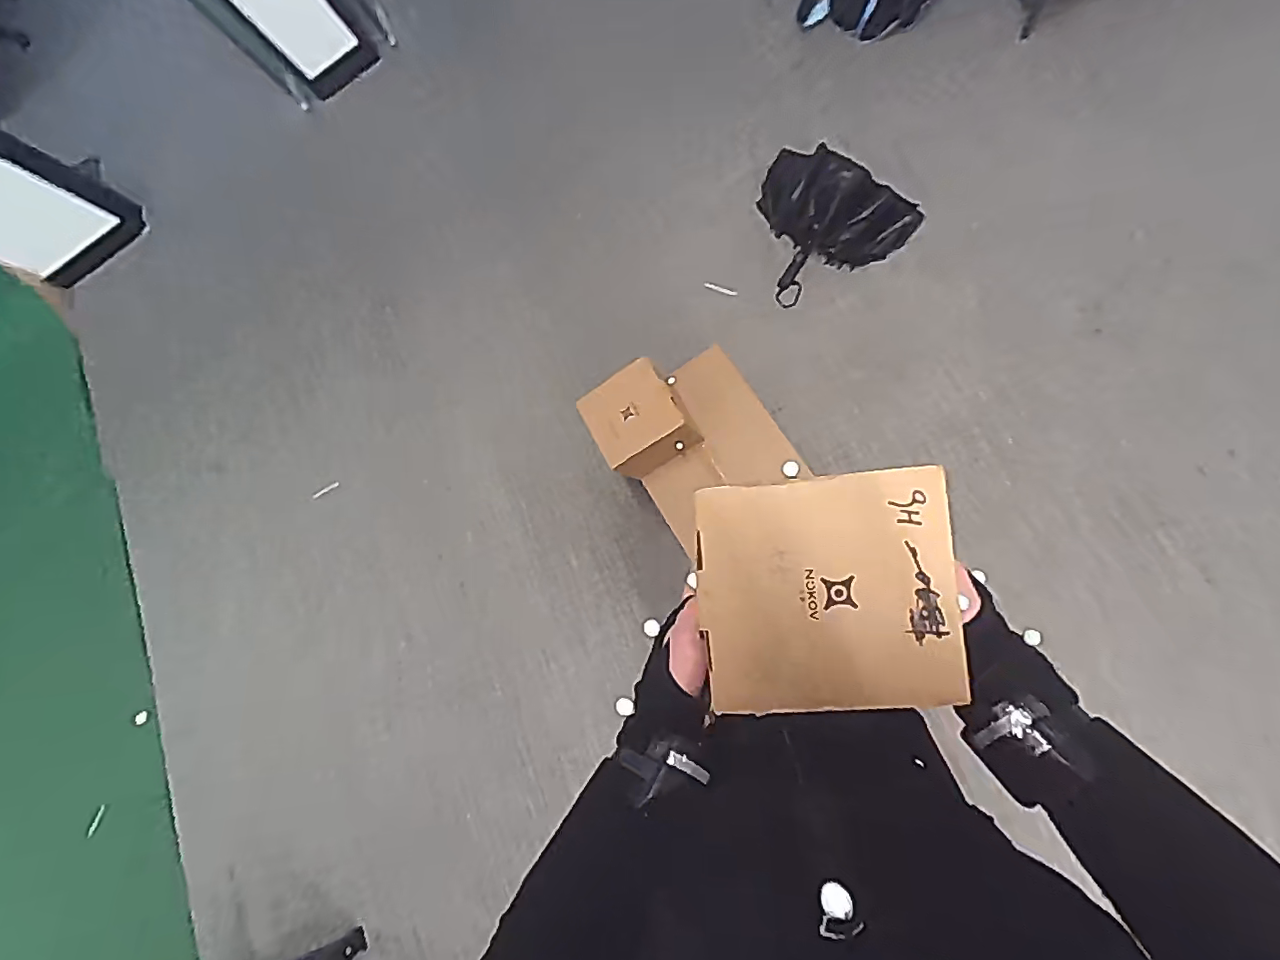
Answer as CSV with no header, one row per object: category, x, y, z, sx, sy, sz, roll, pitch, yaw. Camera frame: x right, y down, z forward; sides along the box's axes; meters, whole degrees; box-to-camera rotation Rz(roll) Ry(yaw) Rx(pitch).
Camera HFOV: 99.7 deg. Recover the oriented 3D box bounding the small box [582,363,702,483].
small box,0.014,-0.109,1.130,0.179,0.176,0.168,-33,73,14
